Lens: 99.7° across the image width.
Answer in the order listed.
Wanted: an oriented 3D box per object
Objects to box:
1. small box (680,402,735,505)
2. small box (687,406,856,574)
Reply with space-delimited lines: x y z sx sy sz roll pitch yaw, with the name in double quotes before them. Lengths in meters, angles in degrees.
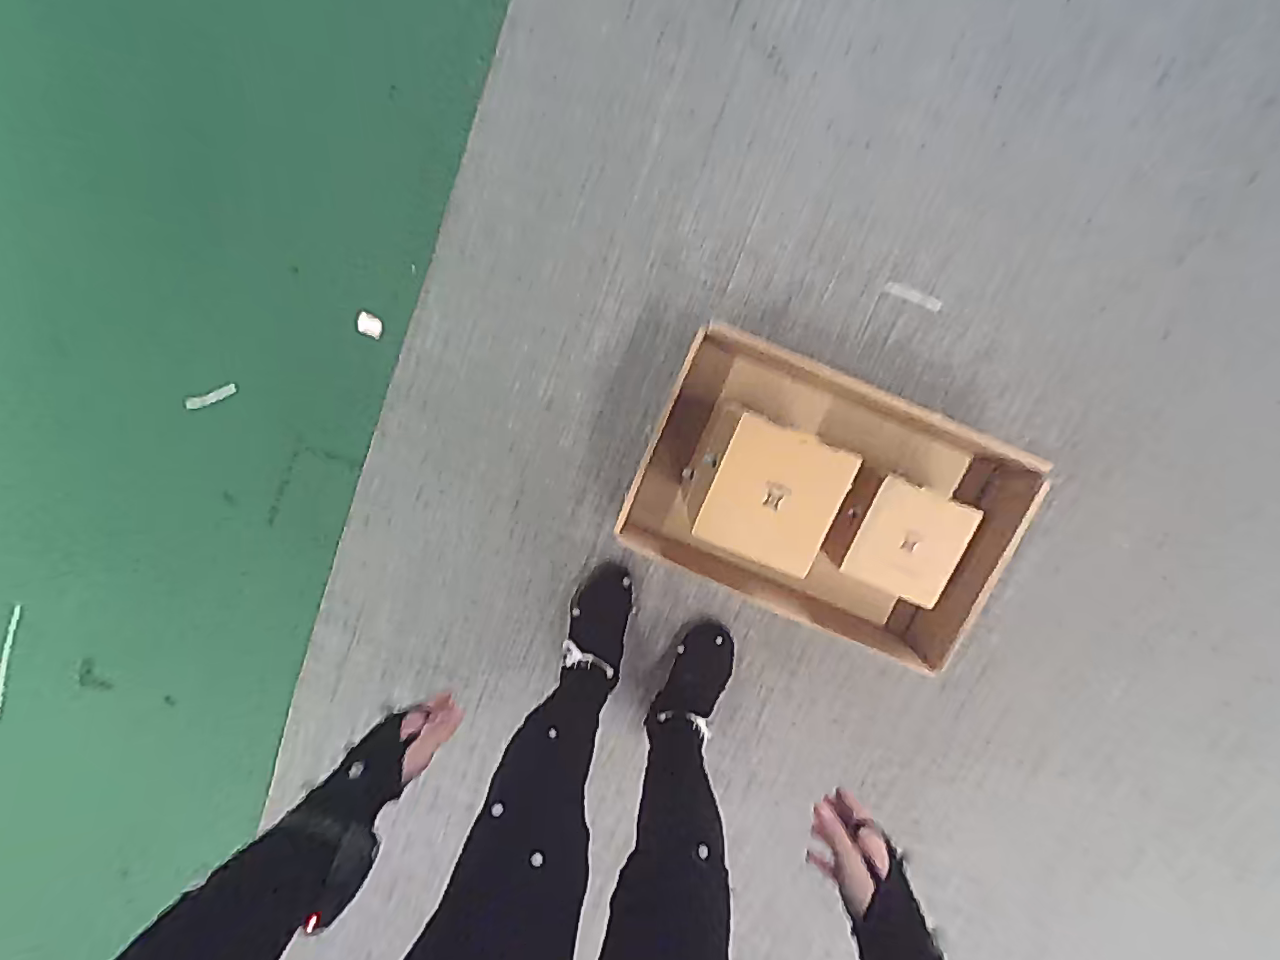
"small box" 0.178 -0.024 0.936 0.168 0.176 0.179 23 99 -2
"small box" 0.174 0.004 0.776 0.168 0.176 0.179 22 99 -1
